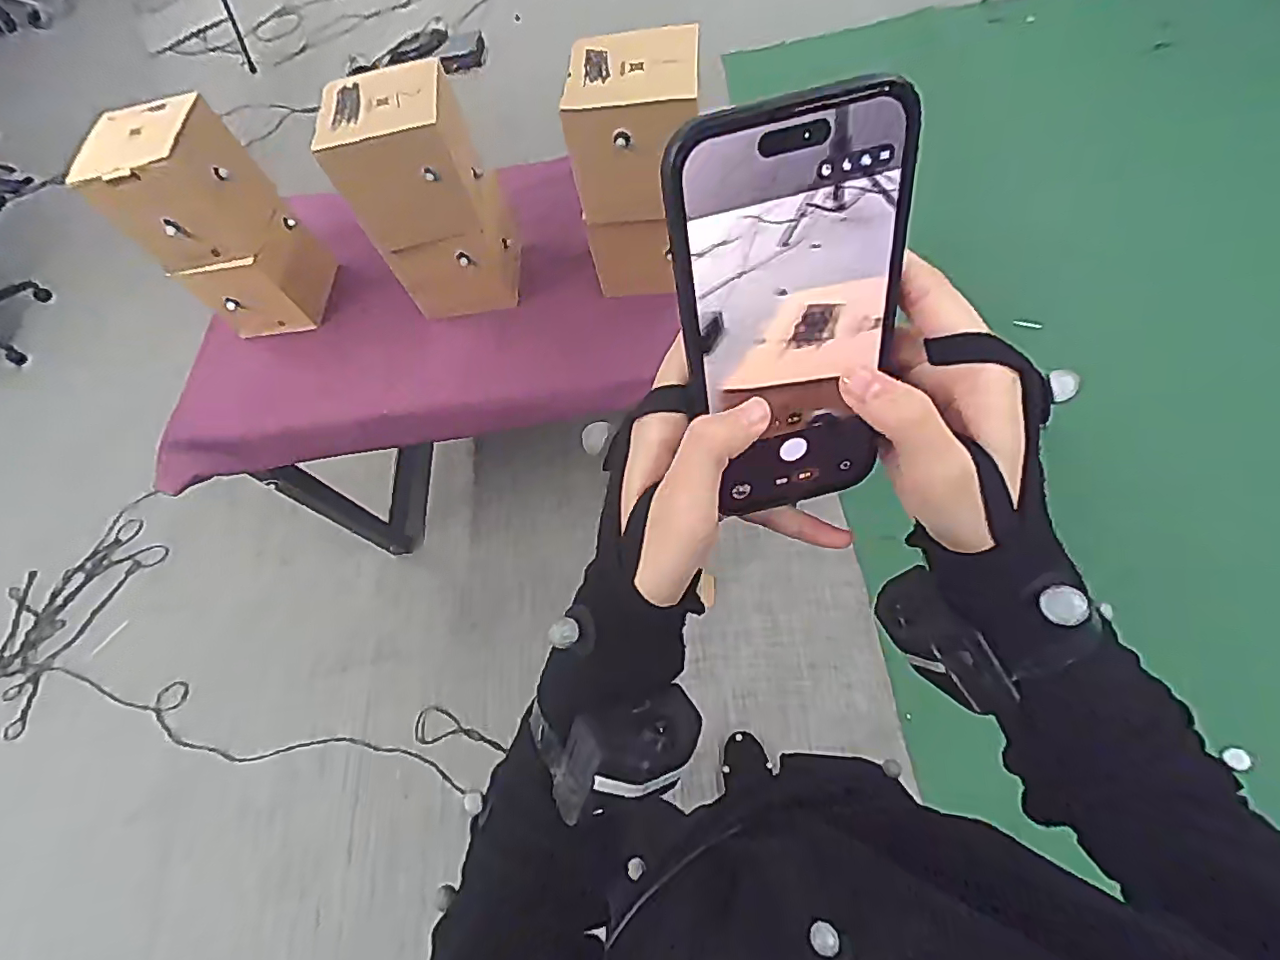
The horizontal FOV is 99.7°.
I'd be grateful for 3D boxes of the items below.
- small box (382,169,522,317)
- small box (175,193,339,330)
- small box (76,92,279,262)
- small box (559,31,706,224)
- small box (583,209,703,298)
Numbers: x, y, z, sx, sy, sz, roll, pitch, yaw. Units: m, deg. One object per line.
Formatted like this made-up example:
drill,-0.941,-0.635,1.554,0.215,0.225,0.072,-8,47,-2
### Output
small box,-0.322,-0.416,0.968,0.179,0.176,0.168,-5,63,7
small box,-0.709,-0.401,1.024,0.168,0.176,0.179,-4,64,7
small box,-0.732,-0.480,0.881,0.168,0.176,0.179,-9,64,4
small box,0.001,-0.490,0.770,0.179,0.176,0.168,1,64,9
small box,0.016,-0.432,0.923,0.179,0.176,0.168,1,64,10
